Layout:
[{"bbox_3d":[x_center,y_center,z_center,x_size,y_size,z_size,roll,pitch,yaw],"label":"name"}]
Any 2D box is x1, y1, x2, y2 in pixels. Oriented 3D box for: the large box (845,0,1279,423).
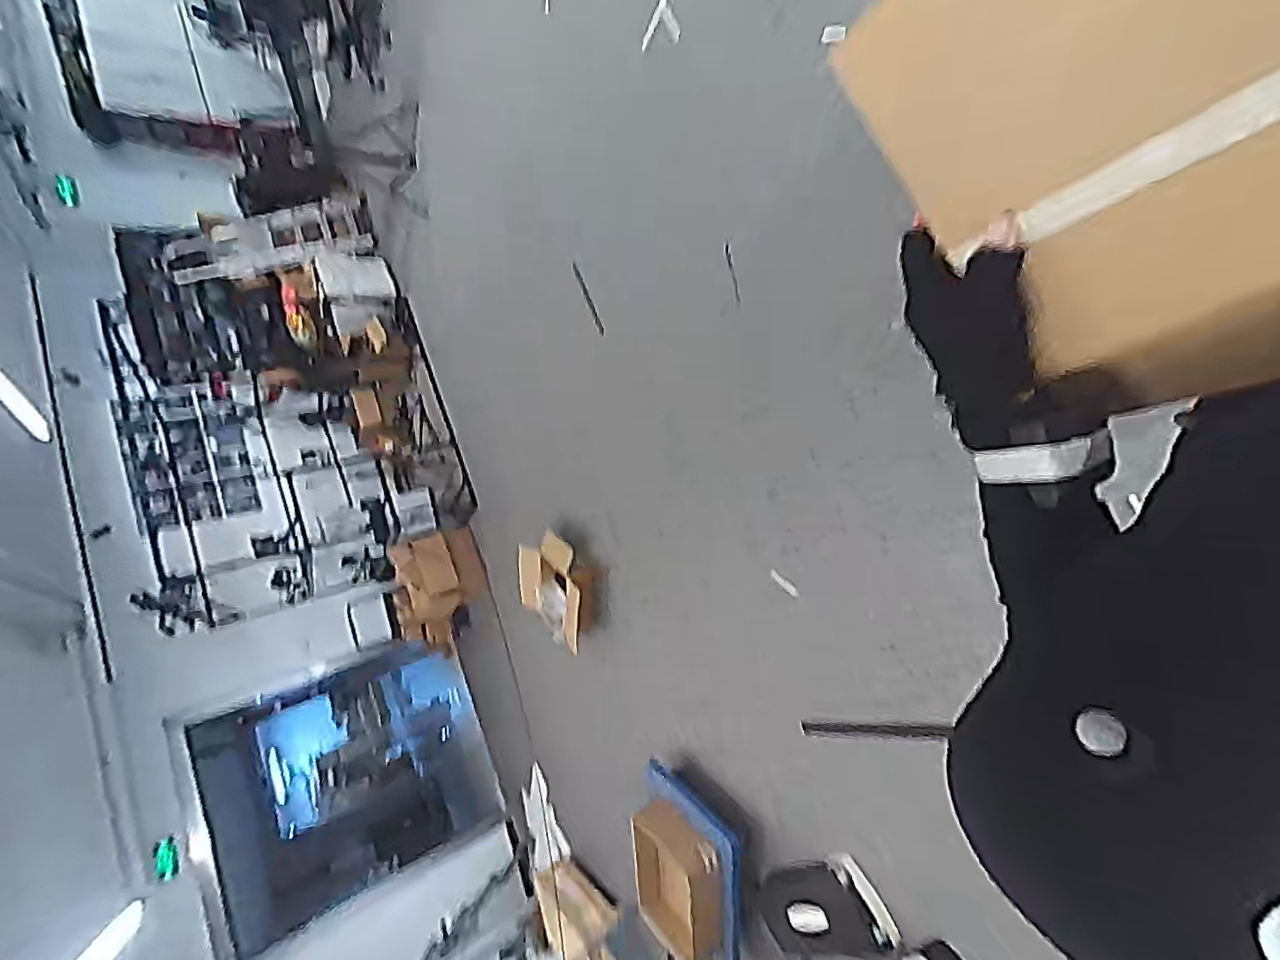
[{"bbox_3d":[0.410,-0.291,0.300,0.320,0.320,0.408,47,148,-15],"label":"large box"}]
